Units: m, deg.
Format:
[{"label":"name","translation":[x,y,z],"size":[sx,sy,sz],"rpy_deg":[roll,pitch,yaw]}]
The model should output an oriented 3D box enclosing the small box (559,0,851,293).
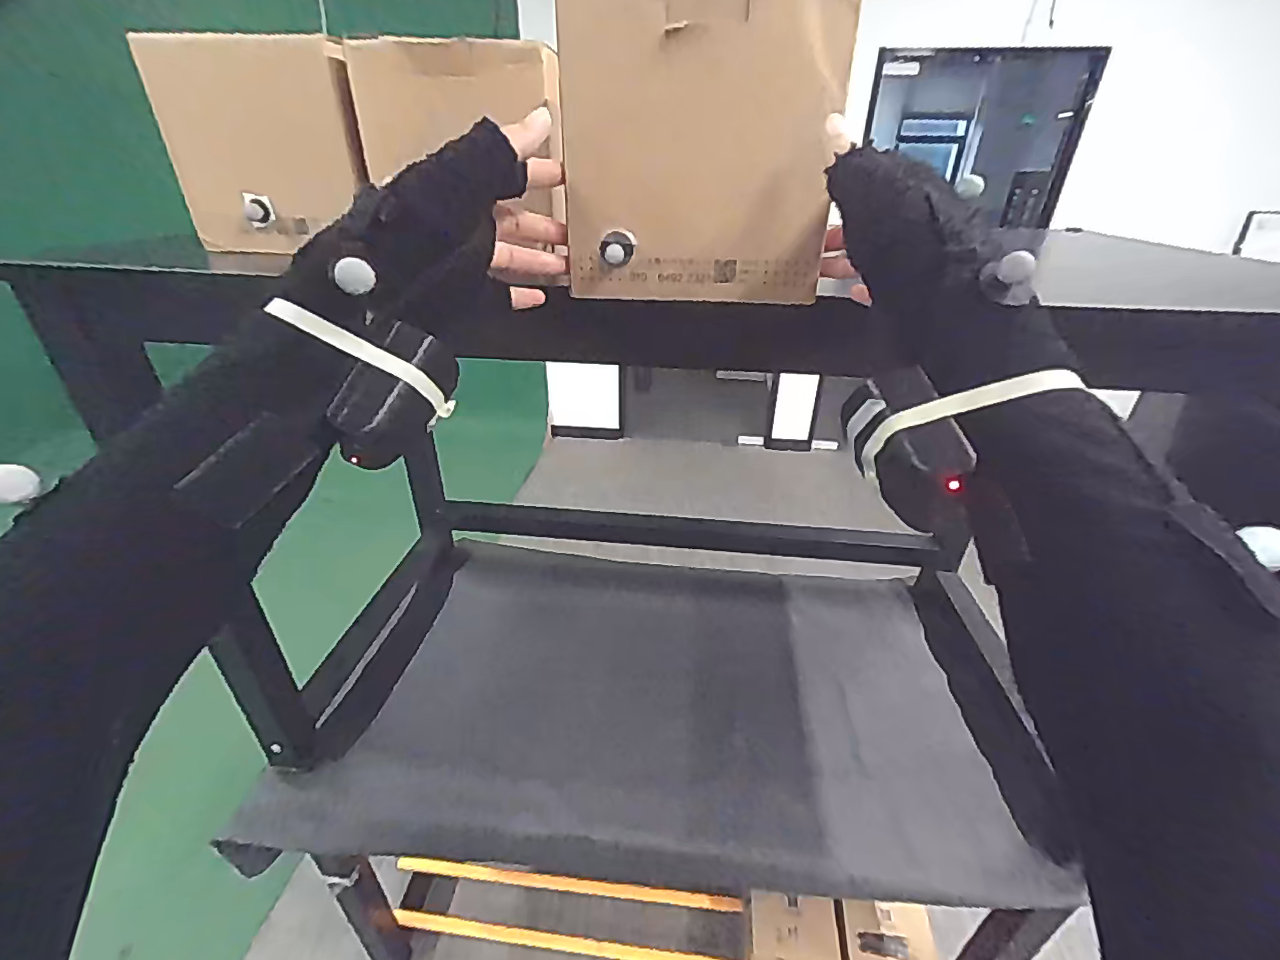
[{"label":"small box","translation":[0.043,-0.238,0.402],"size":[0.168,0.176,0.179],"rpy_deg":[3,28,3]}]
